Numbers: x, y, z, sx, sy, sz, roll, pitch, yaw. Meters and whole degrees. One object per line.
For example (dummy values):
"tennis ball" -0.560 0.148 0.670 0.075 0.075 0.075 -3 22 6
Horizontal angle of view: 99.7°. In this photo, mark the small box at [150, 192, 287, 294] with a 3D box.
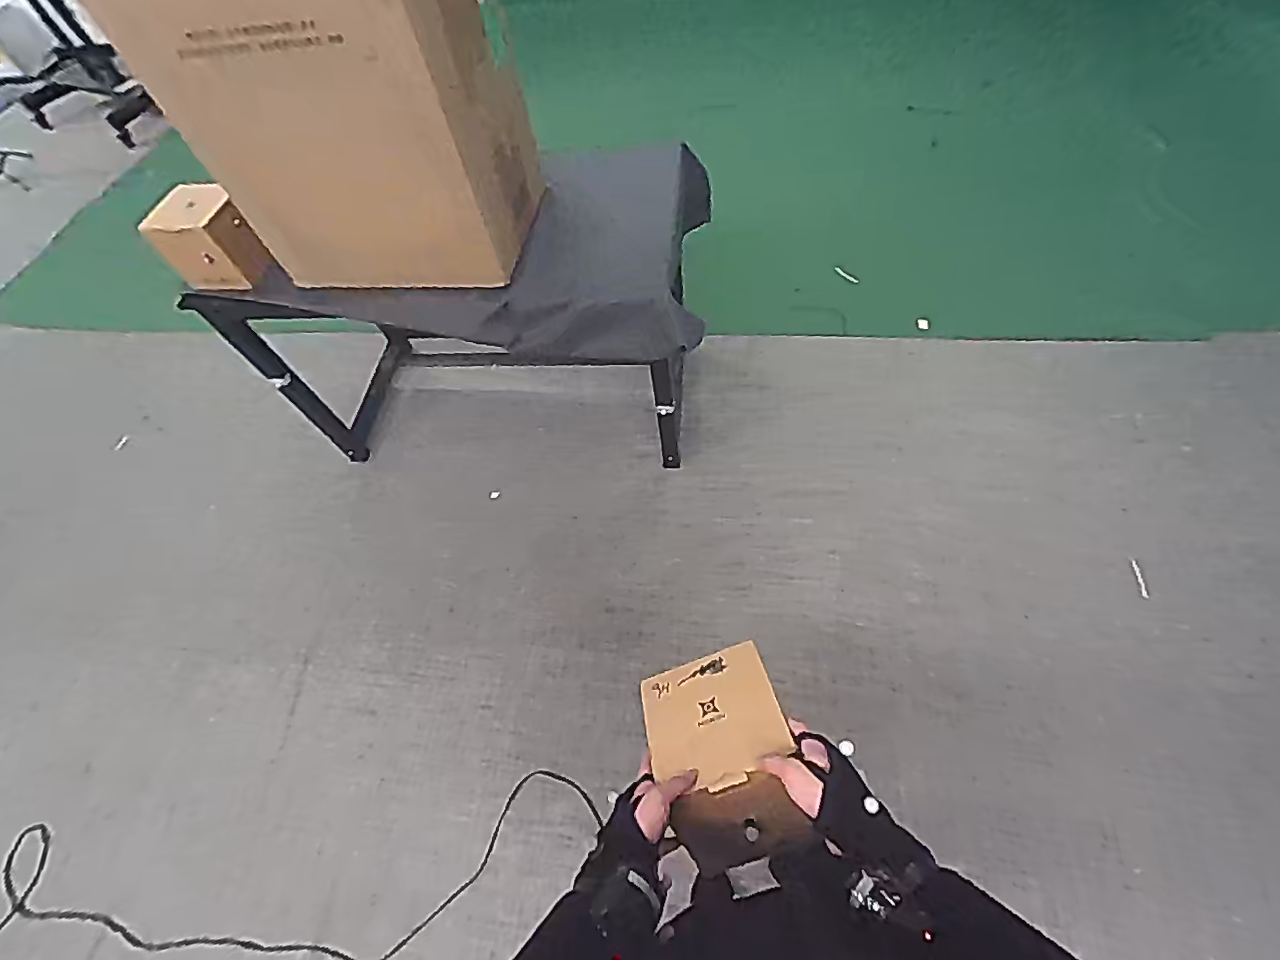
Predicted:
"small box" -1.015 -0.575 1.322 0.168 0.176 0.179 3 57 6

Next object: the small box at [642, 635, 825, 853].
"small box" 0.117 0.343 0.698 0.168 0.176 0.179 -23 28 4
